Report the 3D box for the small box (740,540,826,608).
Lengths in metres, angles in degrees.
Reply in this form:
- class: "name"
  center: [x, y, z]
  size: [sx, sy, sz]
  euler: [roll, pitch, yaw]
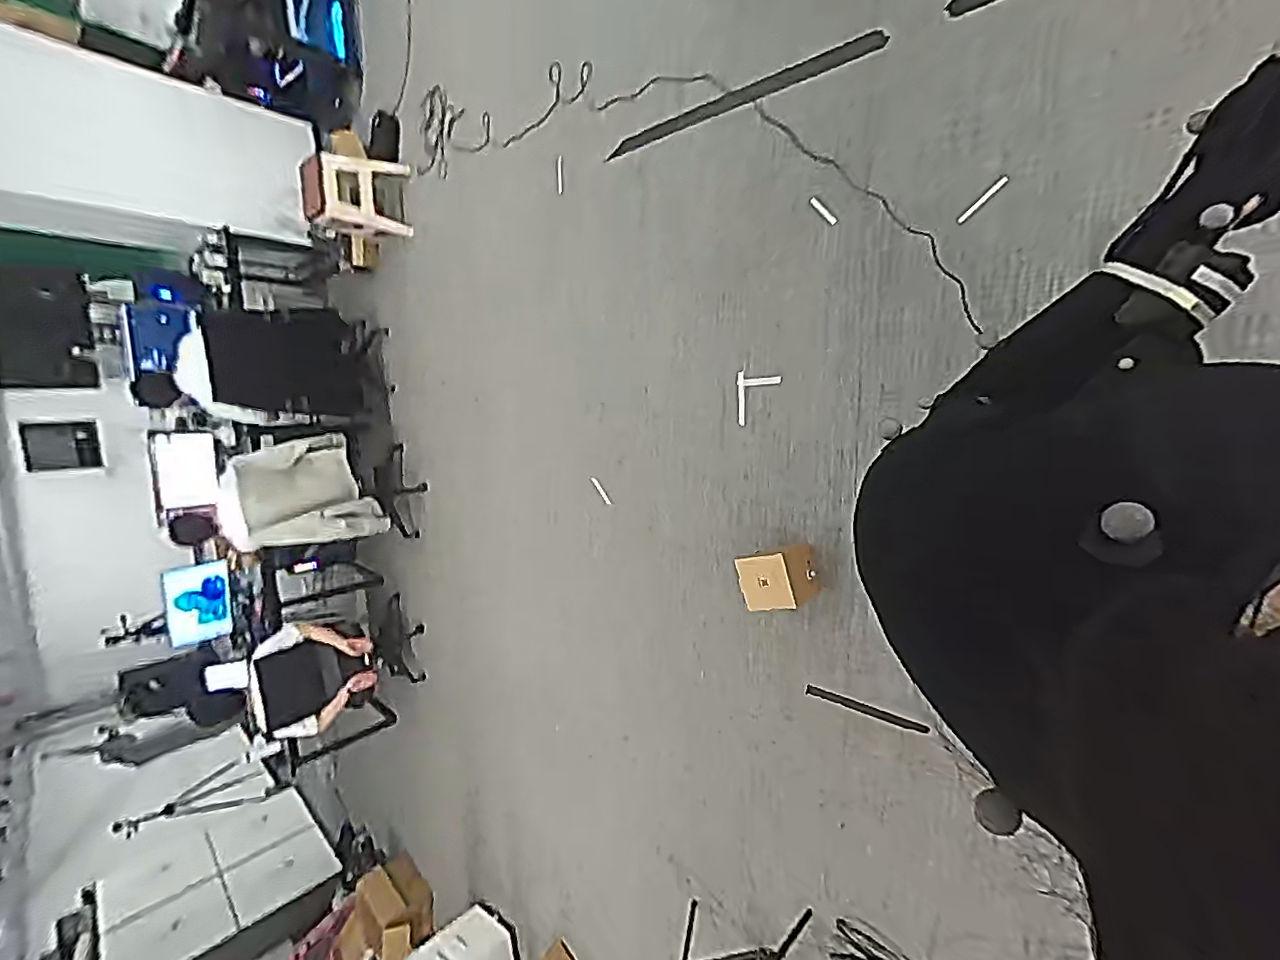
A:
- class: "small box"
  center: [0.441, 0.288, 1.666]
  size: [0.179, 0.176, 0.168]
  euler: [-18, 85, 44]
